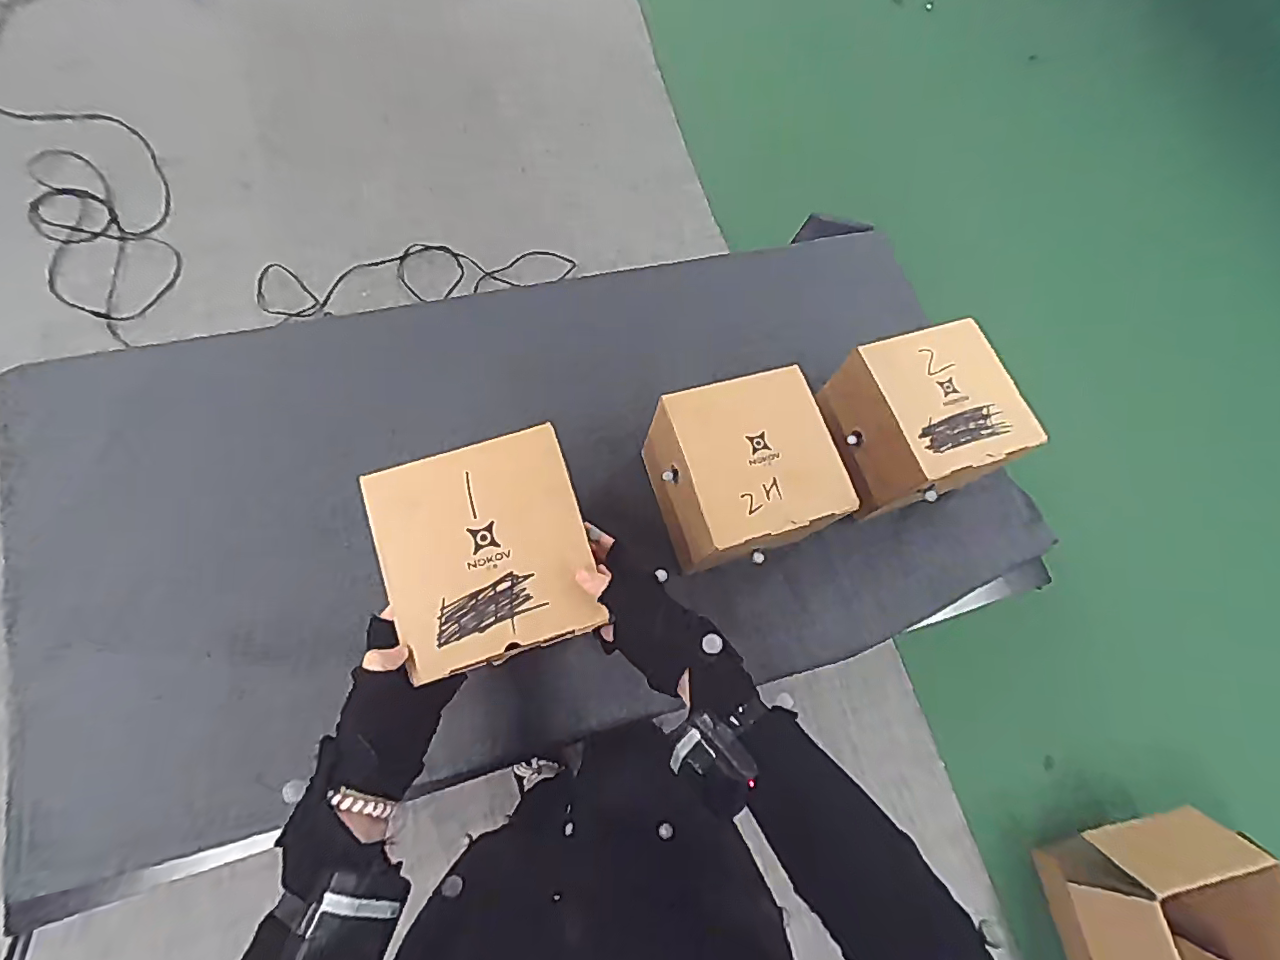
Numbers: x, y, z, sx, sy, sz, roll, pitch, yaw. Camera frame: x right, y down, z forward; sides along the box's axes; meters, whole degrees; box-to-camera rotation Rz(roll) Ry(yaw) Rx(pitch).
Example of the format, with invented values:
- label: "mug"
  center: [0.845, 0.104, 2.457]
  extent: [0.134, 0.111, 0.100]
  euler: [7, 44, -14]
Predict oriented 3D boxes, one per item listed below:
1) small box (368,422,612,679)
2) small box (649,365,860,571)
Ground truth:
- label: "small box"
  center: [-0.128, 0.065, 0.521]
  extent: [0.168, 0.176, 0.179]
  euler: [-17, 82, -8]
- label: "small box"
  center: [0.117, -0.006, 0.641]
  extent: [0.168, 0.176, 0.179]
  euler: [-15, 74, -11]
